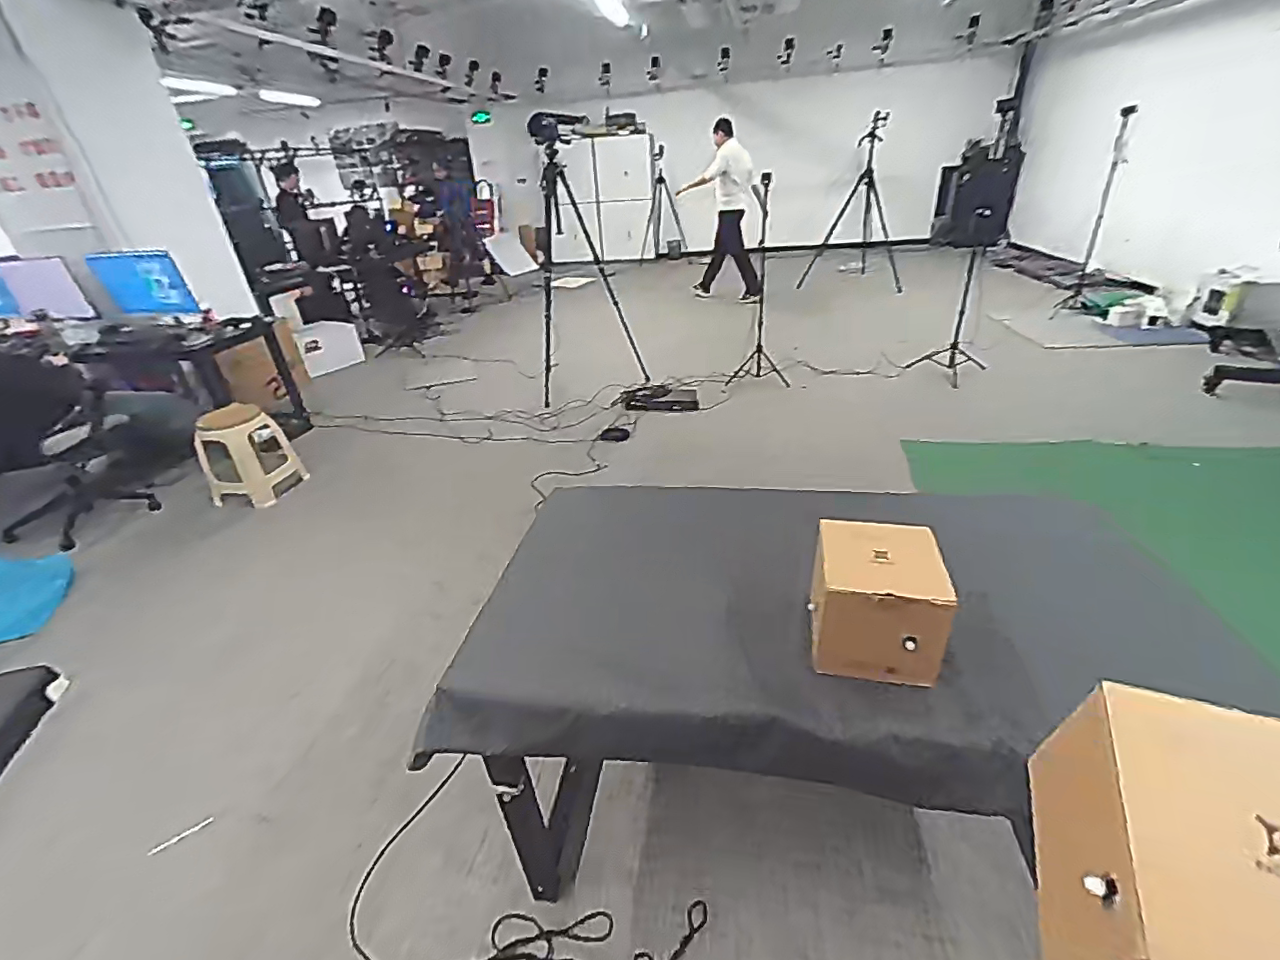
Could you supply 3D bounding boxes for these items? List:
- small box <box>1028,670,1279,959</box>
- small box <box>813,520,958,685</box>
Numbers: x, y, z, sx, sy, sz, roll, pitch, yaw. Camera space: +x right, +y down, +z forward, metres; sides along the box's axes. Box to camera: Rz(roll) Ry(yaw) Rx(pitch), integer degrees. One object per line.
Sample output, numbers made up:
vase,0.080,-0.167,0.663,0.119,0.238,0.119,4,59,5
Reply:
small box,0.402,0.271,0.385,0.168,0.176,0.179,9,50,21
small box,0.358,0.183,0.823,0.168,0.176,0.179,4,30,13
